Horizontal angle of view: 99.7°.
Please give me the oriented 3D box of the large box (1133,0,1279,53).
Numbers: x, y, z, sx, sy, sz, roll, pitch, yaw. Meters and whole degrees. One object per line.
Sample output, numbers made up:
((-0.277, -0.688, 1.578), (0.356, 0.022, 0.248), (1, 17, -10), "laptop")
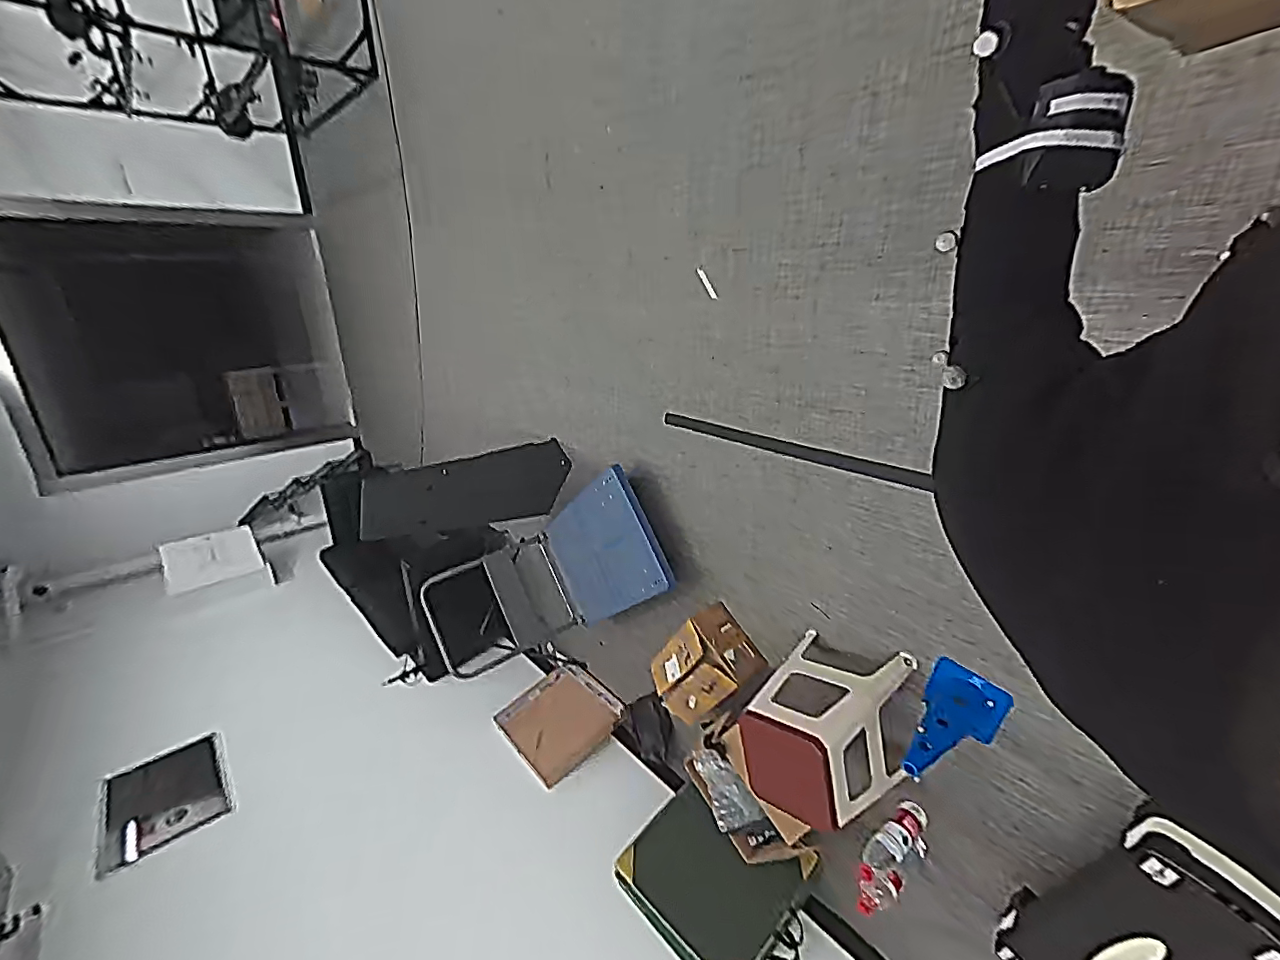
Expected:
((0.516, -0.477, 0.242), (0.408, 0.320, 0.320), (10, 119, 48), "large box")
